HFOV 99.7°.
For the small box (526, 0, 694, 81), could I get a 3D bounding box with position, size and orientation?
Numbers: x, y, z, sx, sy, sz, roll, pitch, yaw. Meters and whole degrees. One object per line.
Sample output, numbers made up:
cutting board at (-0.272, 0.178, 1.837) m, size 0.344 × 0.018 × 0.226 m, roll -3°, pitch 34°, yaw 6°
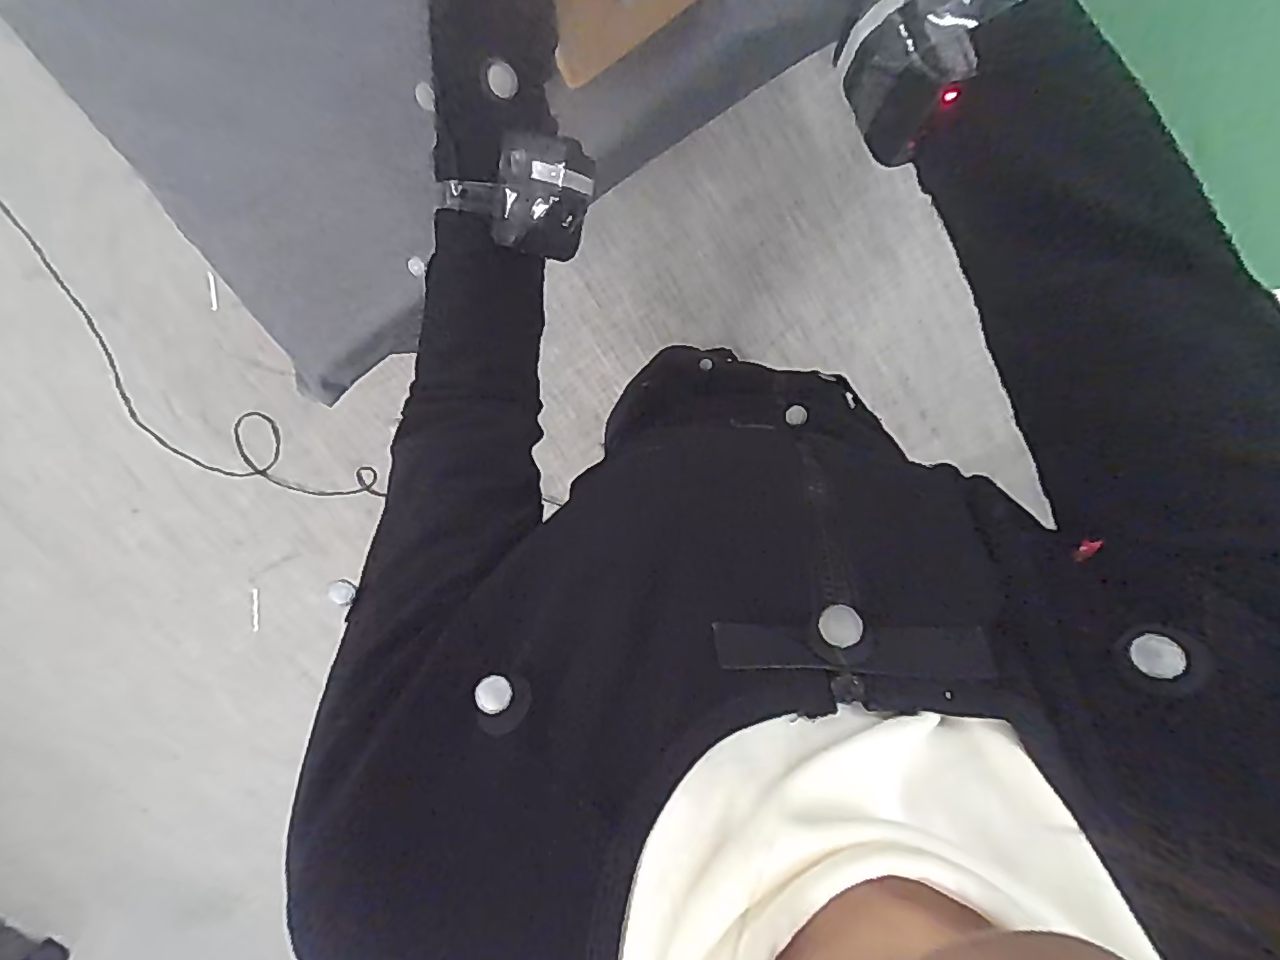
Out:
small box at (-0.044, -0.509, 0.477) m, size 0.179 × 0.176 × 0.168 m, roll -30°, pitch 101°, yaw 11°
